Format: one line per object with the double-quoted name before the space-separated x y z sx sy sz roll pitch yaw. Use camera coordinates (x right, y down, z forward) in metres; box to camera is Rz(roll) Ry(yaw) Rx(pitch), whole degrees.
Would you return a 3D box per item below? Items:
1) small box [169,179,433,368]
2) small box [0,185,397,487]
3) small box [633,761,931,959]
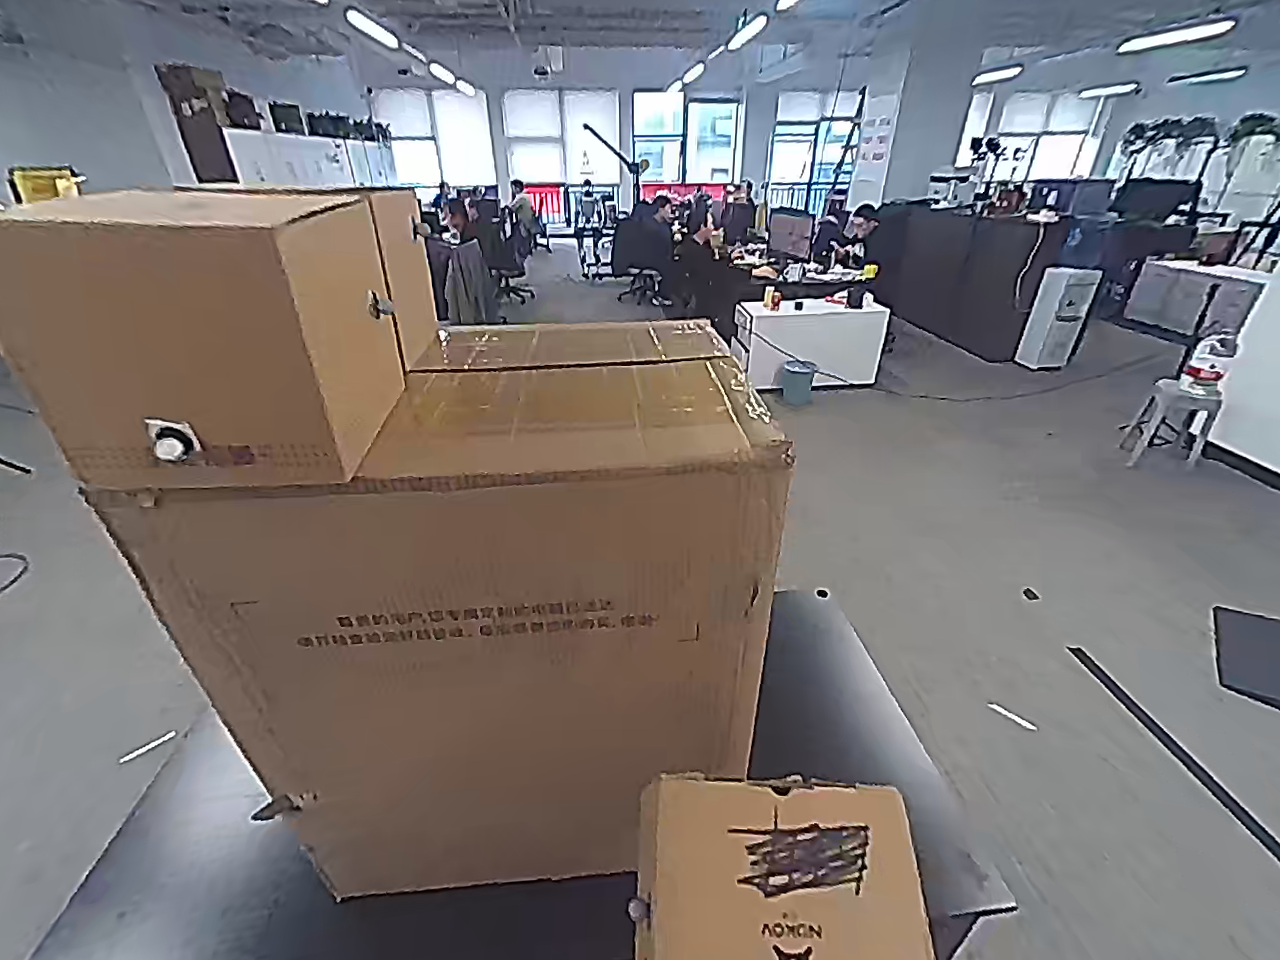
"small box" -0.330 -0.220 0.575 0.168 0.176 0.179 -3 29 -6
"small box" -0.291 -0.110 0.394 0.168 0.176 0.179 -3 33 -8
"small box" 0.082 0.311 0.383 0.168 0.176 0.179 3 56 -2
